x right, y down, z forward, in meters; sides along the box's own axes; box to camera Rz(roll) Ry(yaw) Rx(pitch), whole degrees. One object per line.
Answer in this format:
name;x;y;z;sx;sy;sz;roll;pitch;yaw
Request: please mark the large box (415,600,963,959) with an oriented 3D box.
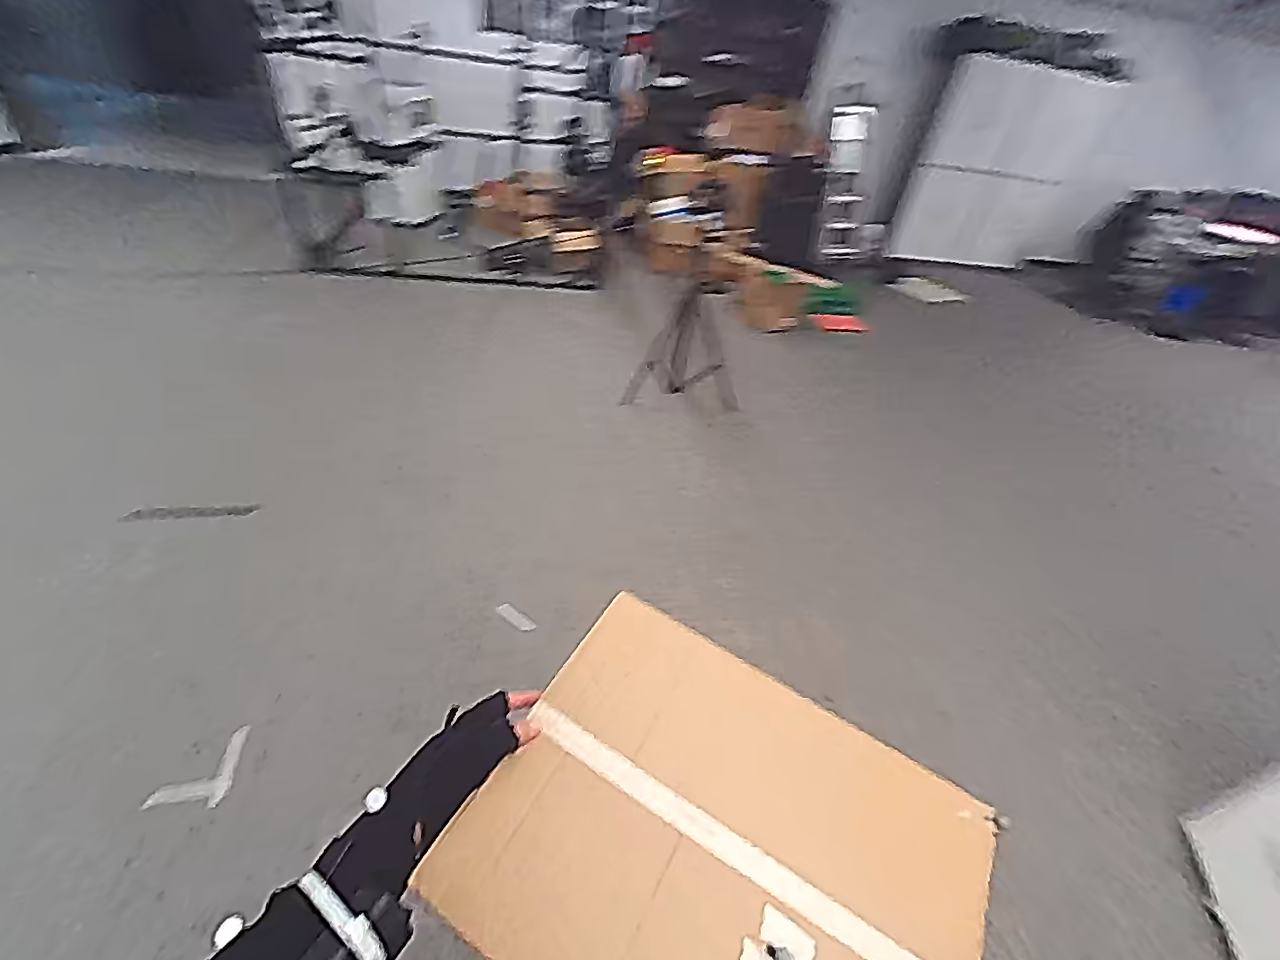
large box;0.045;0.407;0.577;0.408;0.320;0.320;27;50;15
